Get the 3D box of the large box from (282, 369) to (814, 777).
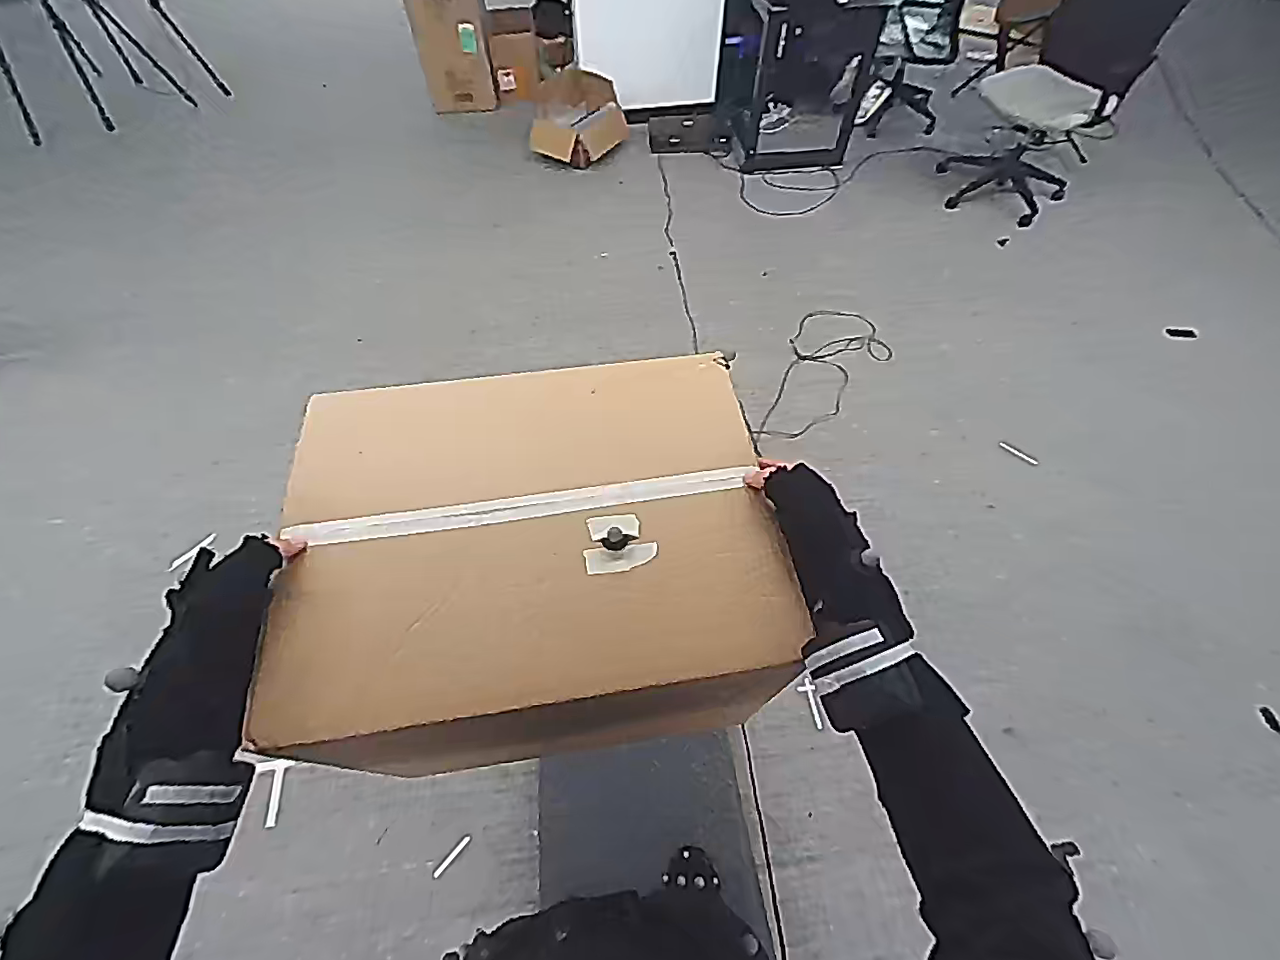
[{"bbox_3d":[-0.086,0.113,0.601,0.408,0.320,0.320,-7,58,-5],"label":"large box"}]
